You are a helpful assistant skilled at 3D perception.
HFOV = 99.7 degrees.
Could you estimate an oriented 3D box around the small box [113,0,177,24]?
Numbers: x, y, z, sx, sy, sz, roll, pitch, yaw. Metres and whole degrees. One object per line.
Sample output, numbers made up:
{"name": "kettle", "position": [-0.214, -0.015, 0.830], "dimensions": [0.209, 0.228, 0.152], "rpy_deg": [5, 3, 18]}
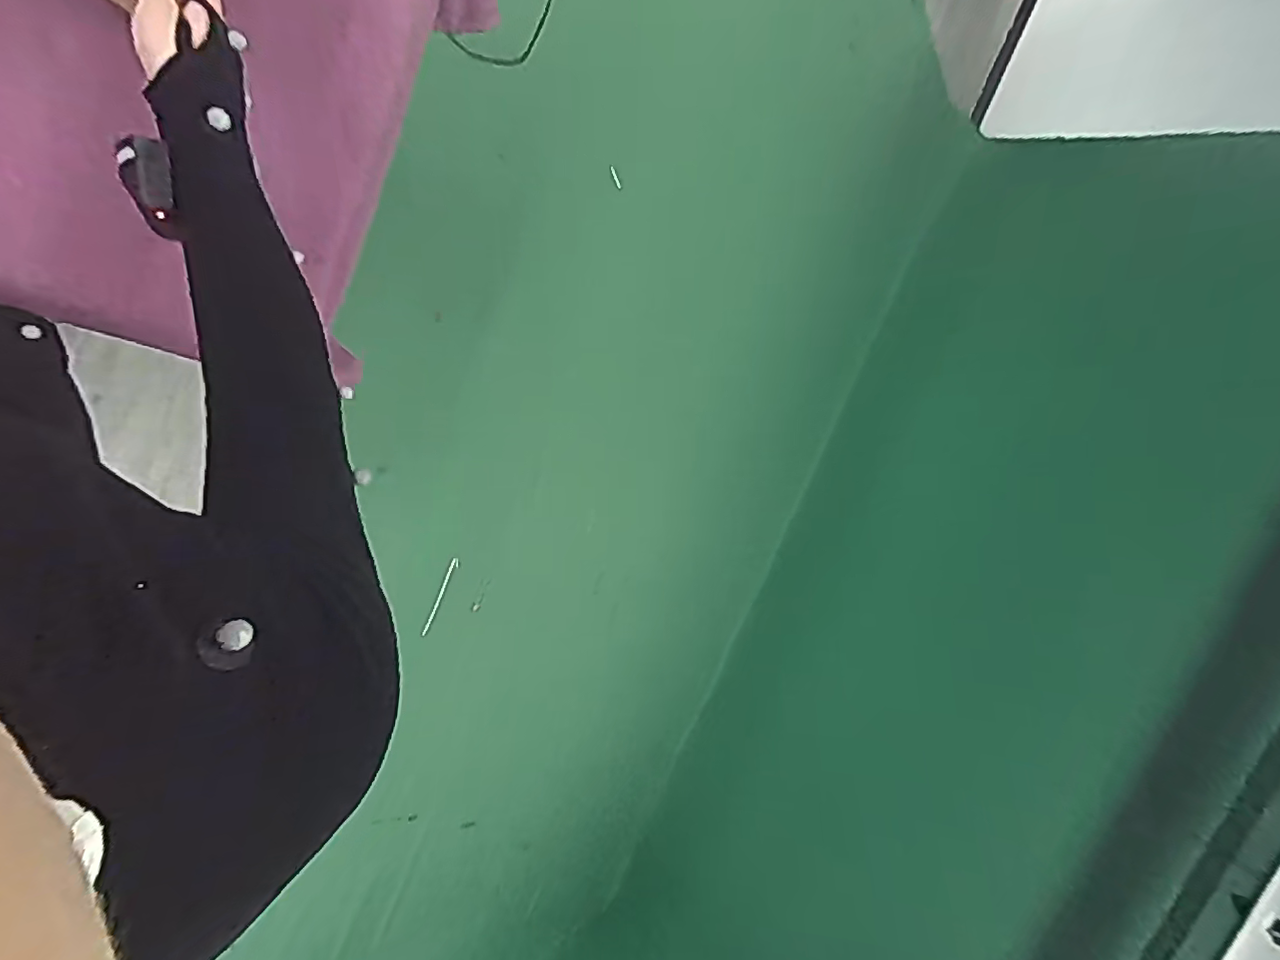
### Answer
{"name": "small box", "position": [-0.461, -0.537, 0.448], "dimensions": [0.168, 0.176, 0.179], "rpy_deg": [22, 92, -50]}
